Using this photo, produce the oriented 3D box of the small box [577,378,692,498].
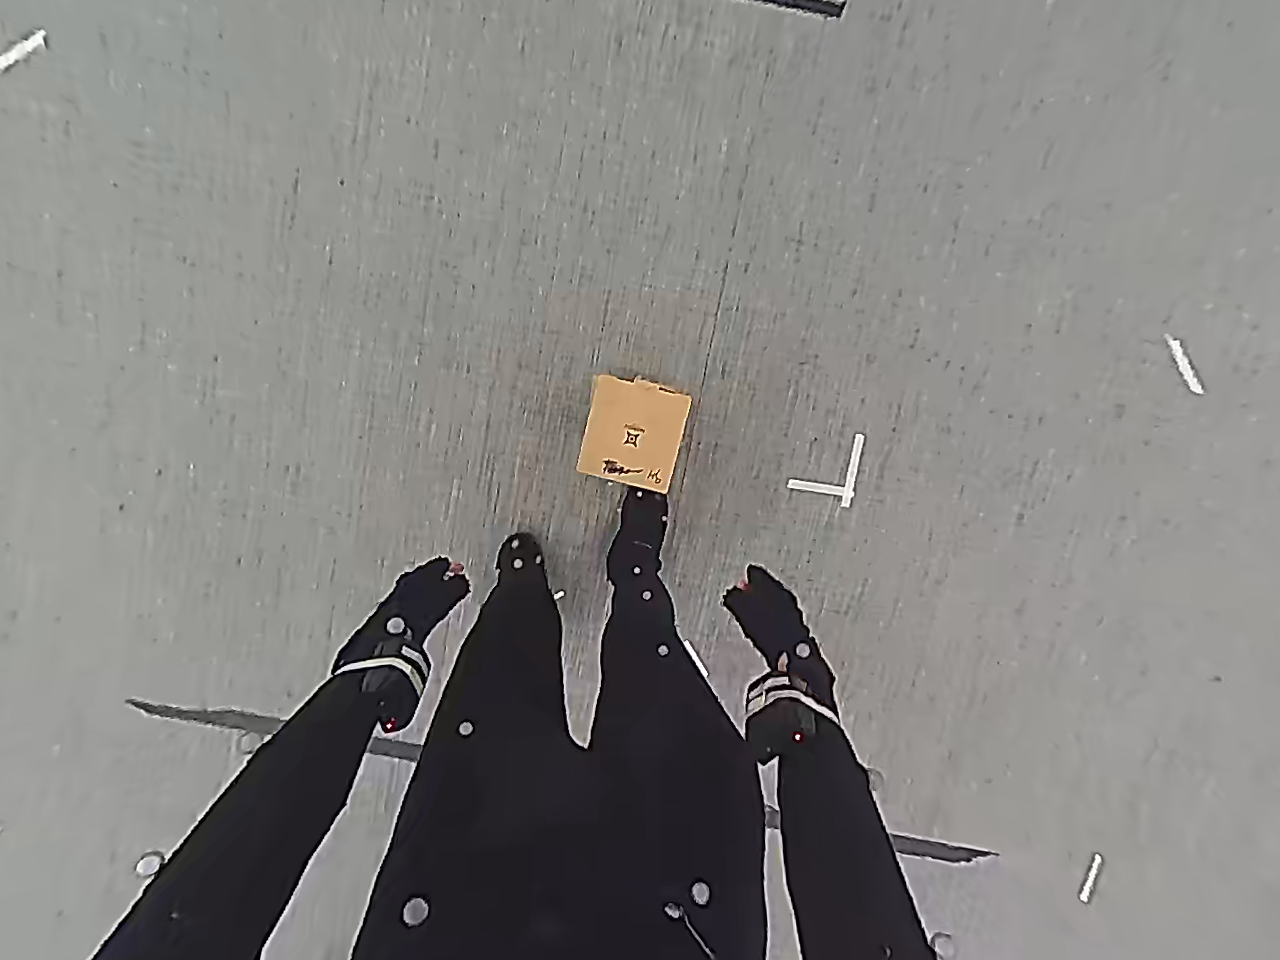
[{"bbox_3d":[-0.014,-0.079,1.009,0.168,0.176,0.179,15,96,-3],"label":"small box"}]
